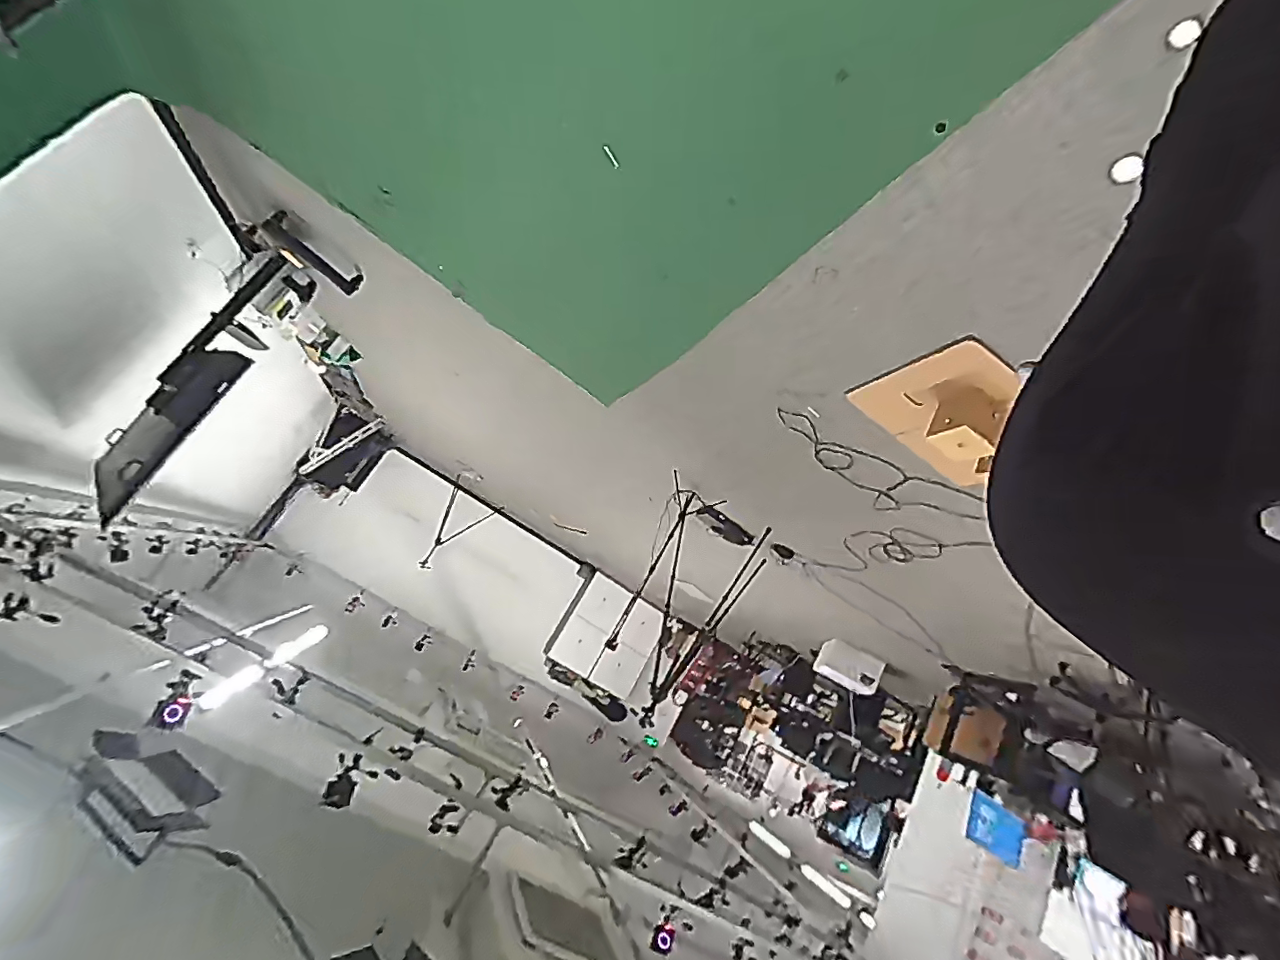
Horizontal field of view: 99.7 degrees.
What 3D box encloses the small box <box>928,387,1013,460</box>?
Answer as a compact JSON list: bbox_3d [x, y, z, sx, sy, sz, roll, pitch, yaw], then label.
[{"bbox_3d":[1.178,-0.198,1.922,0.168,0.176,0.179,34,161,-9],"label":"small box"}]
